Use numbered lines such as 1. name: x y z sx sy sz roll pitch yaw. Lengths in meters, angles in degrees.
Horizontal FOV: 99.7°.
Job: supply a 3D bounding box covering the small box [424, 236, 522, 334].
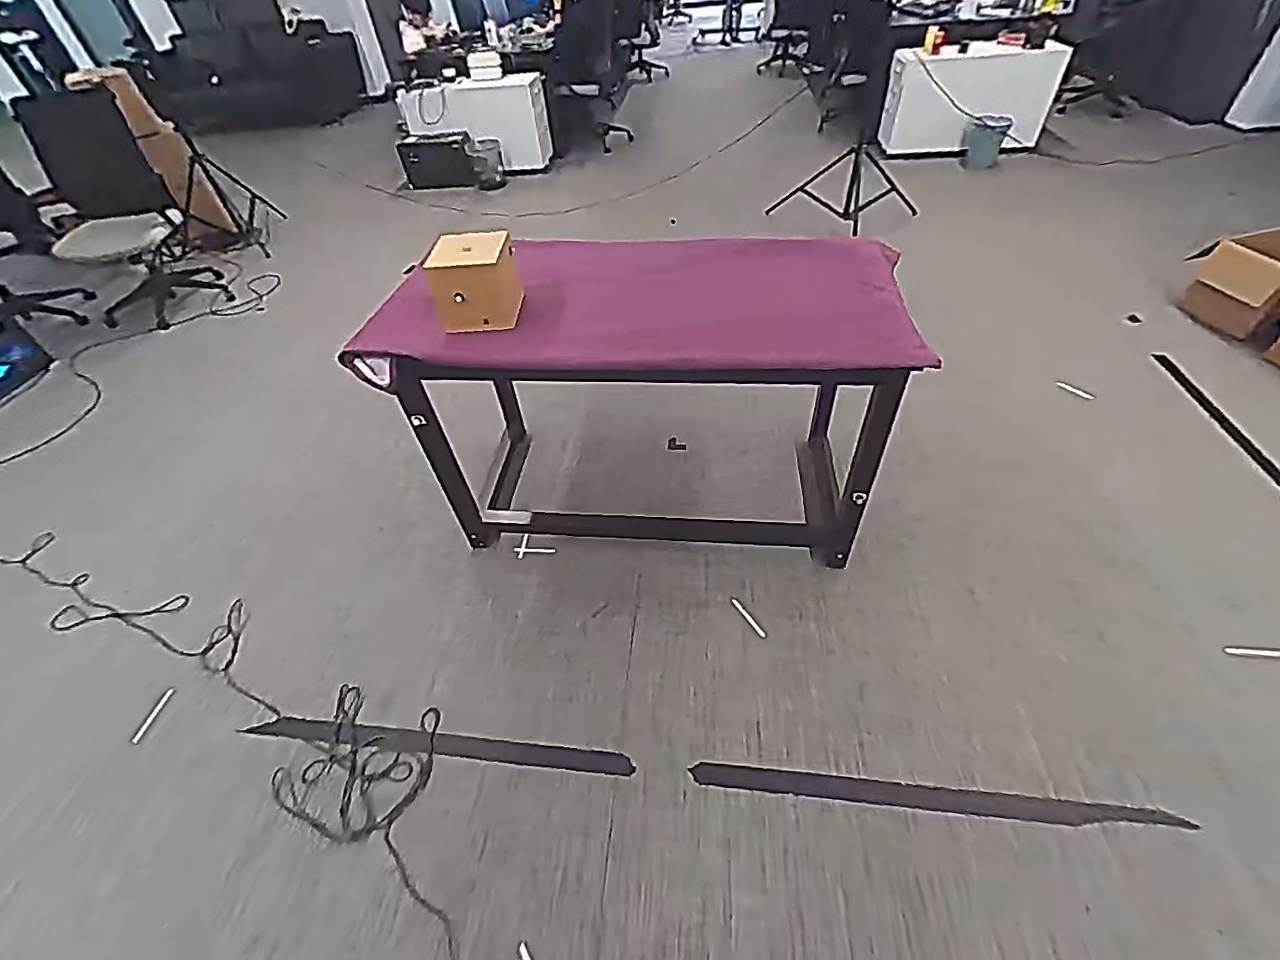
1. small box: -0.389 -0.463 1.299 0.168 0.176 0.179 -3 45 2
